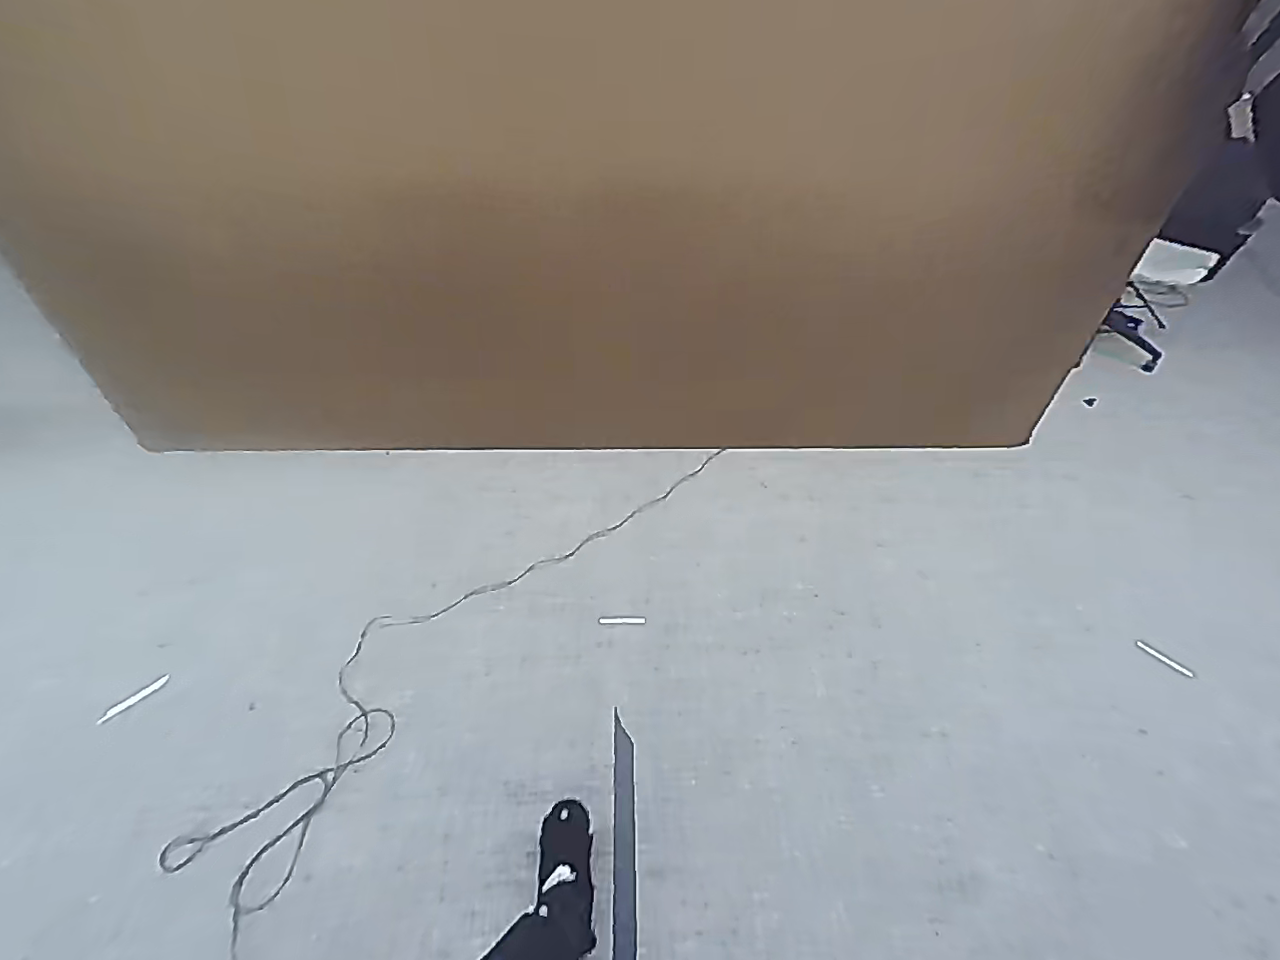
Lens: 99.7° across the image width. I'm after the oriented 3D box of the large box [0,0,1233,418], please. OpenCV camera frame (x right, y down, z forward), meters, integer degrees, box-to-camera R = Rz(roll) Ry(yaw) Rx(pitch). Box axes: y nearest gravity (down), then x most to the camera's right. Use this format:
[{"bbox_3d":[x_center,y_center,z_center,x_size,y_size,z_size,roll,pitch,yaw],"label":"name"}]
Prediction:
[{"bbox_3d":[-0.020,-0.239,0.271,0.408,0.320,0.320,0,42,-3],"label":"large box"}]
